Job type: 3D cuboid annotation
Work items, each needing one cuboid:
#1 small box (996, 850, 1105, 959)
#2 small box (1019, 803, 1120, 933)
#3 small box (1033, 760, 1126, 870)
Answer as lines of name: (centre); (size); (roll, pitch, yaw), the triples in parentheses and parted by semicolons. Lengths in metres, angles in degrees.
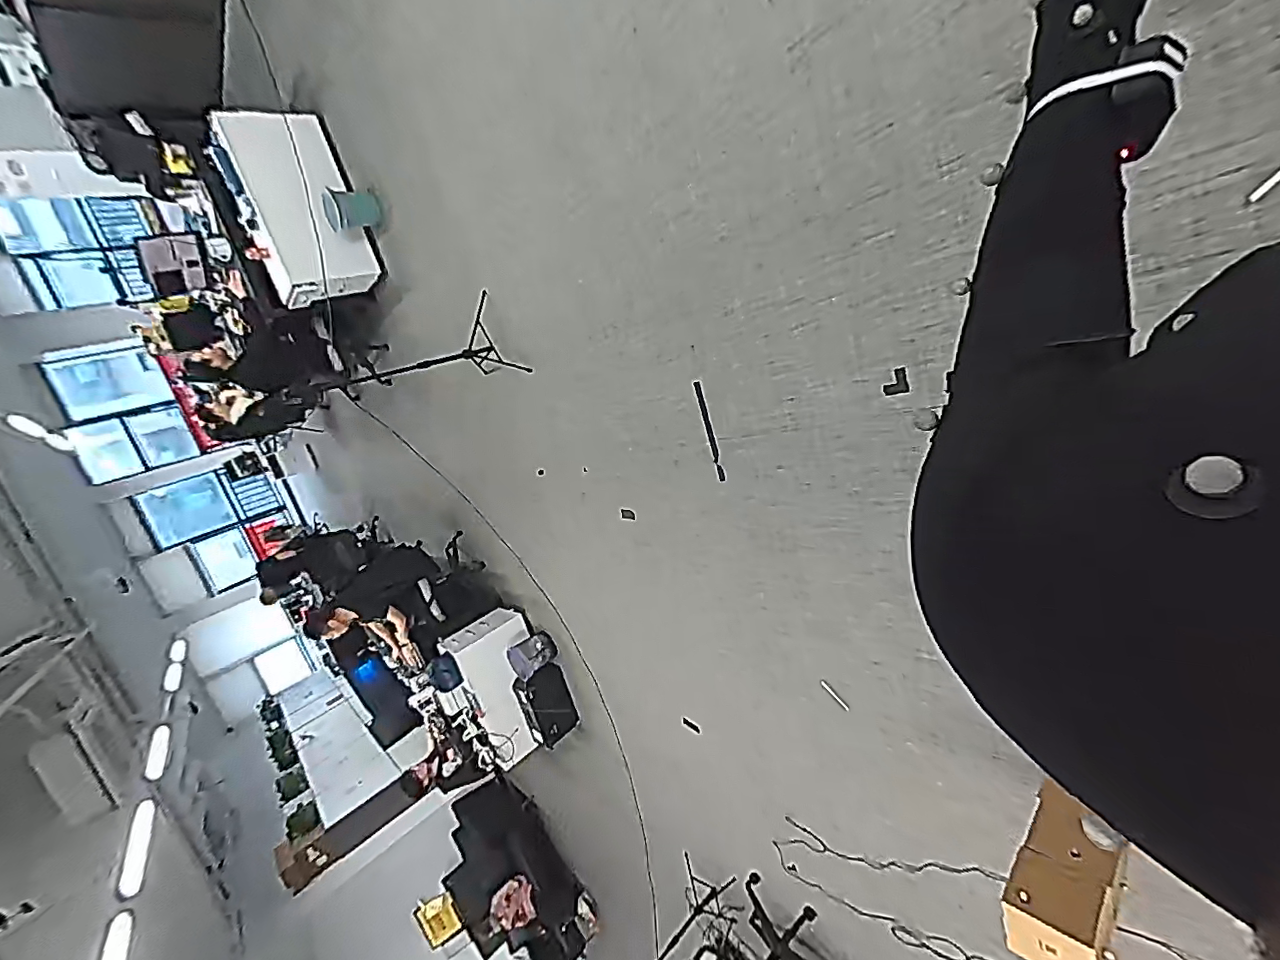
small box: (0.974, 1.032, 1.277); (0.179, 0.176, 0.168); (2, 114, 51)
small box: (1.092, 0.970, 1.371); (0.179, 0.176, 0.168); (5, 116, 49)
small box: (1.204, 0.910, 1.477); (0.179, 0.176, 0.168); (2, 113, 49)
